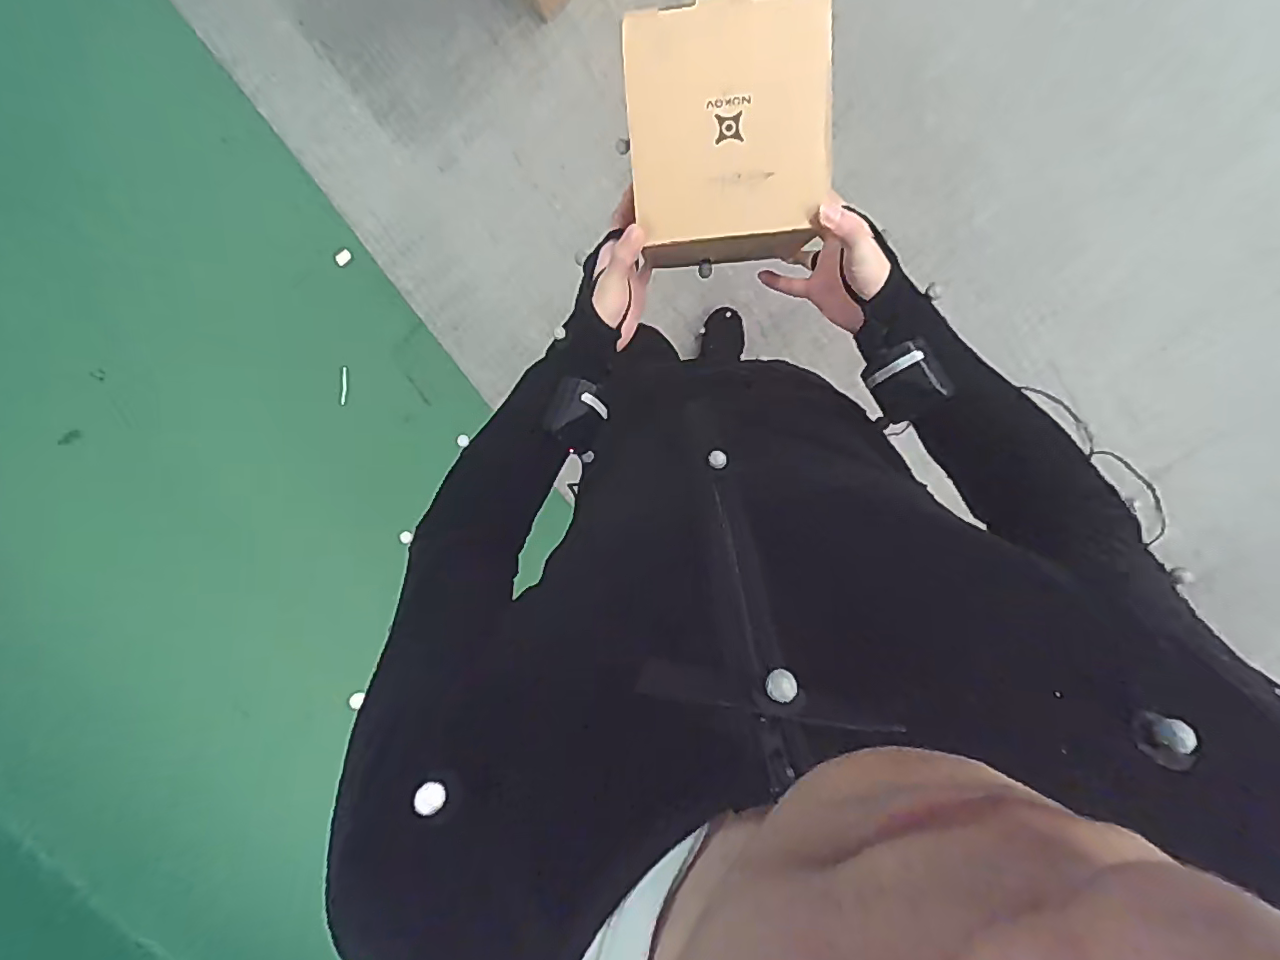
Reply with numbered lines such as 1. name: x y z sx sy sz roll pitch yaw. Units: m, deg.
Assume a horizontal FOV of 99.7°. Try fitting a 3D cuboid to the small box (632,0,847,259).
1. small box: 0.082 -0.316 0.503 0.168 0.176 0.179 -3 105 5
